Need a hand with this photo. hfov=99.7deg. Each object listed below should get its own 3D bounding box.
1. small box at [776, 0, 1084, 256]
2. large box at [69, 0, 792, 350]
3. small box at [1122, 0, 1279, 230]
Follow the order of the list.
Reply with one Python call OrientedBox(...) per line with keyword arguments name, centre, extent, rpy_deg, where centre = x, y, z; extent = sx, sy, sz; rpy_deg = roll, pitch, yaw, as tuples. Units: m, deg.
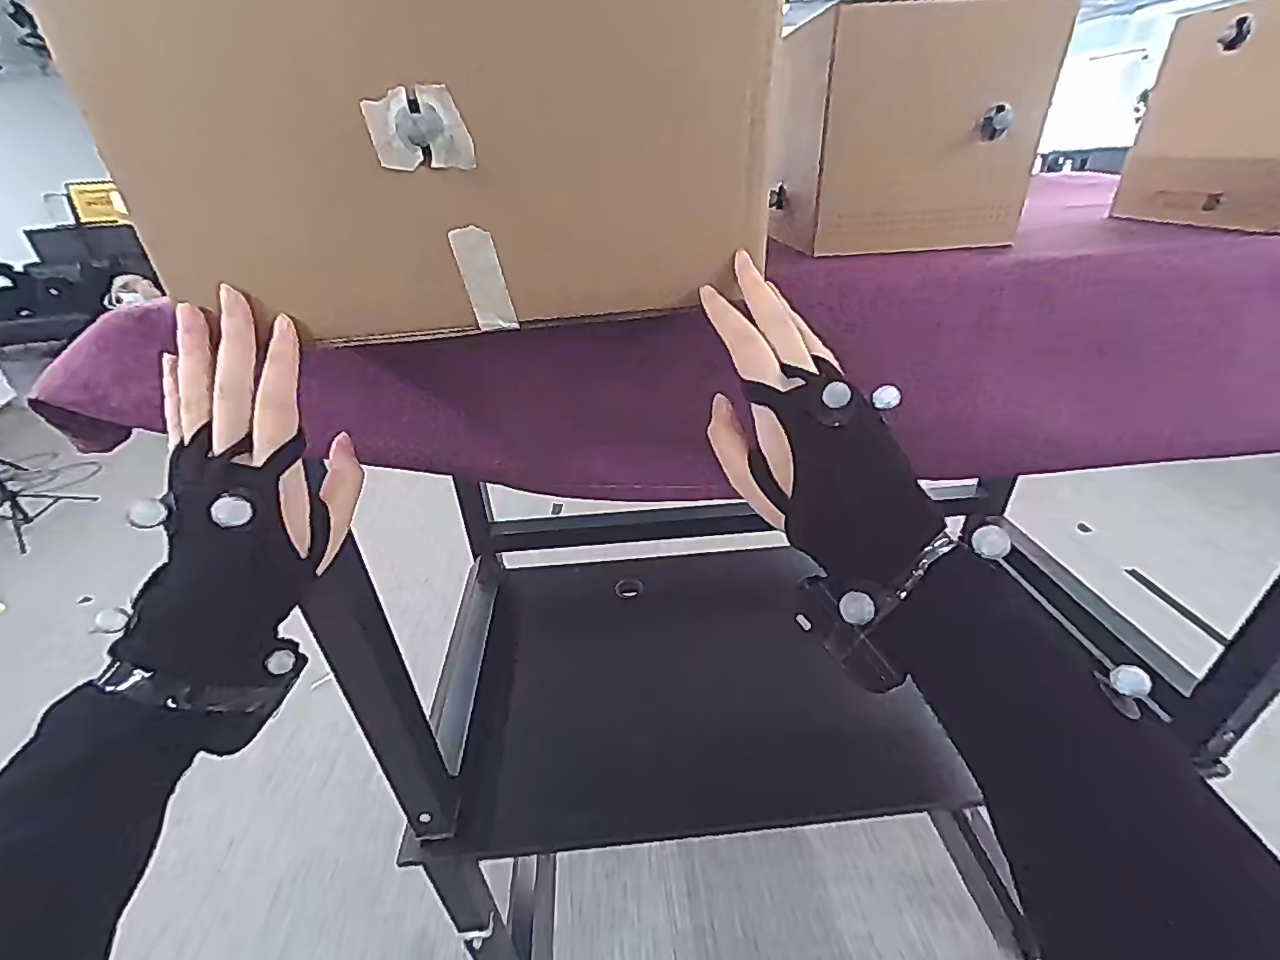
OrientedBox(name="small box", centre=(0.222, -0.303, 0.478), extent=(0.179, 0.176, 0.168), rpy_deg=(-5, 30, -1))
OrientedBox(name="large box", centre=(-0.116, -0.308, 0.388), extent=(0.320, 0.320, 0.408), rpy_deg=(-7, 30, -9))
OrientedBox(name="small box", centre=(0.587, -0.320, 0.467), extent=(0.179, 0.176, 0.168), rpy_deg=(-5, 30, -4))
